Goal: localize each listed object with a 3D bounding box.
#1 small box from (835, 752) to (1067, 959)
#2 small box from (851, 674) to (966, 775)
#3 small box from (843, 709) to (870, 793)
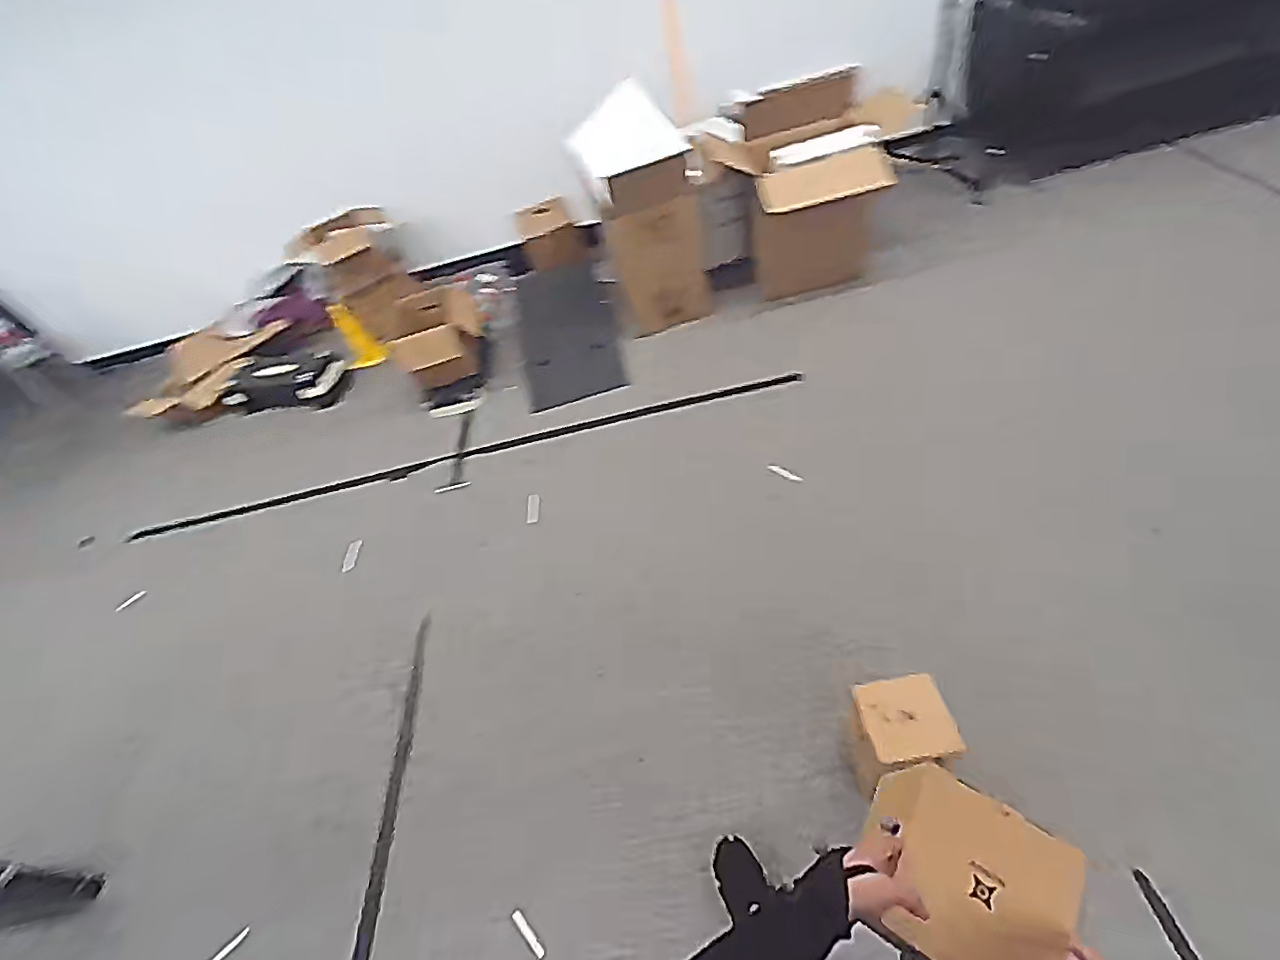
[{"bbox_3d":[0.343,0.454,0.624,0.168,0.176,0.179,25,59,19],"label":"small box"},{"bbox_3d":[0.589,0.558,1.212,0.179,0.176,0.168,-13,46,7],"label":"small box"},{"bbox_3d":[0.617,0.666,1.332,0.179,0.176,0.168,-12,46,6],"label":"small box"}]
